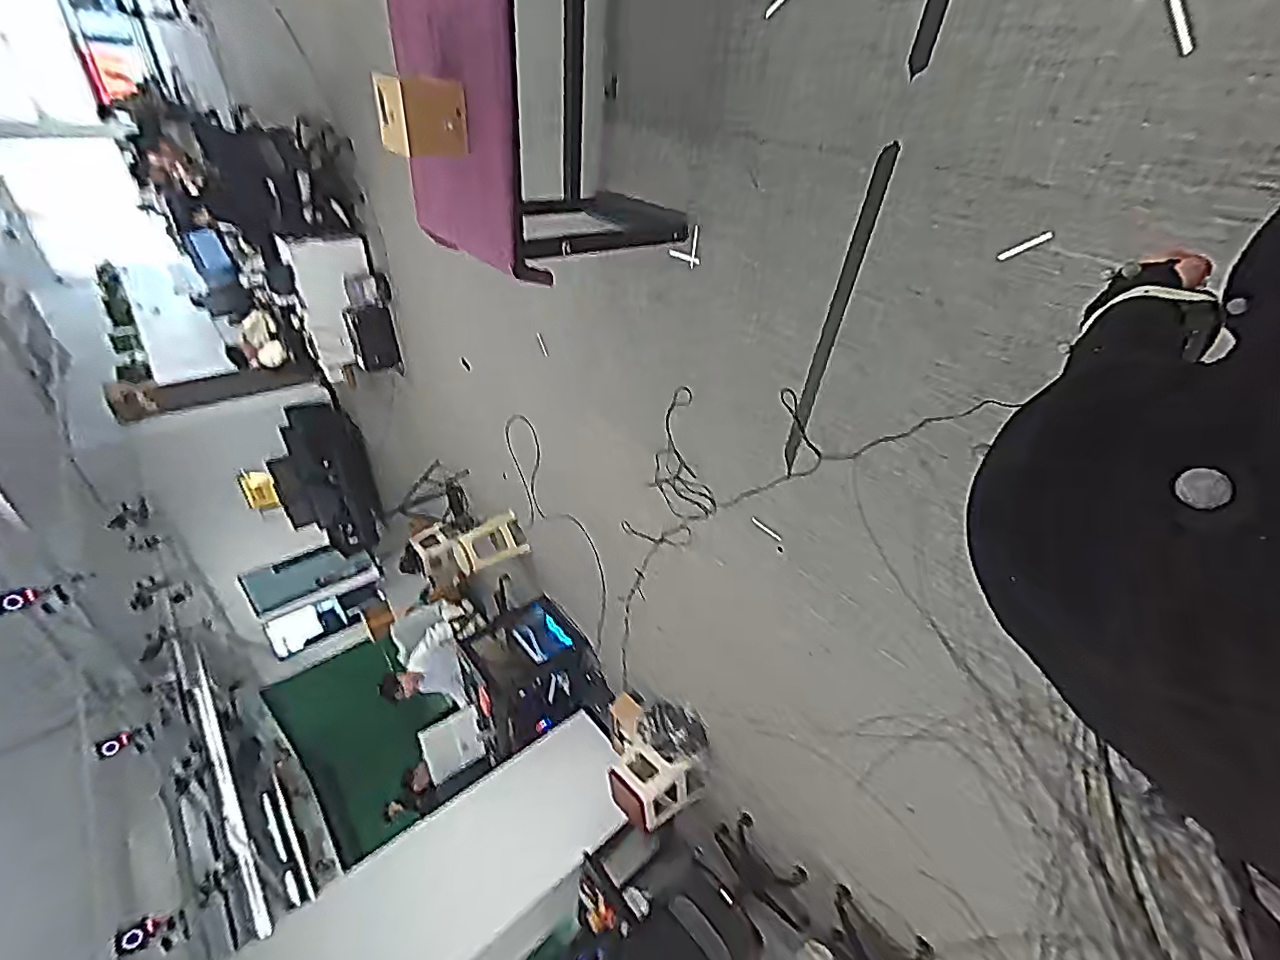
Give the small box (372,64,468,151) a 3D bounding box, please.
[{"bbox_3d":[-0.570,-0.971,1.415,0.179,0.176,0.168,39,138,33],"label":"small box"}]
